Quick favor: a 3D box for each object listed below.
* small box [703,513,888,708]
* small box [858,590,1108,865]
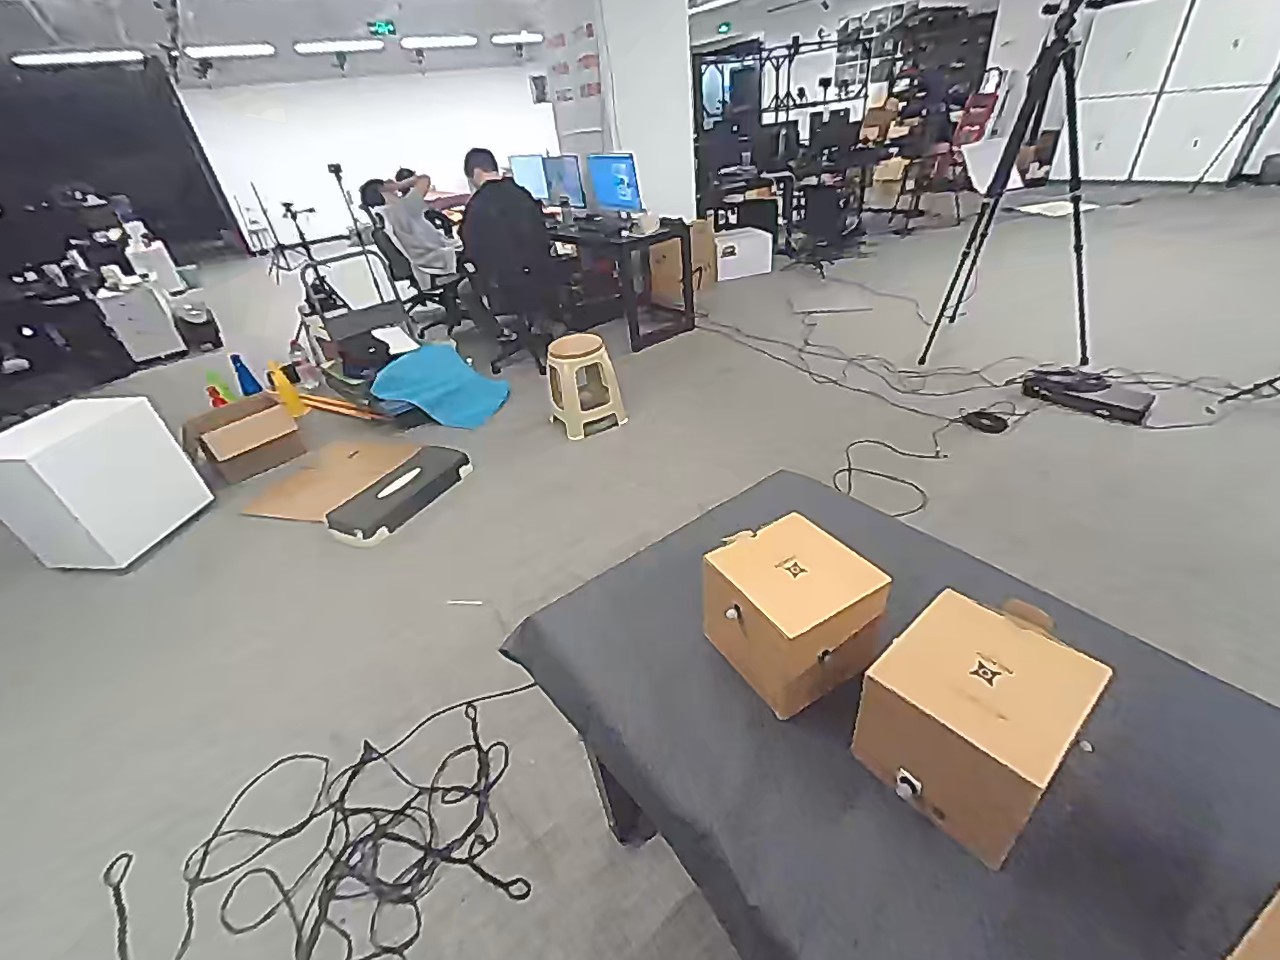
[{"bbox_3d":[0.204,0.180,0.743,0.168,0.176,0.179,-21,36,-21],"label":"small box"},{"bbox_3d":[0.361,0.262,0.595,0.179,0.176,0.168,-29,39,-30],"label":"small box"}]
